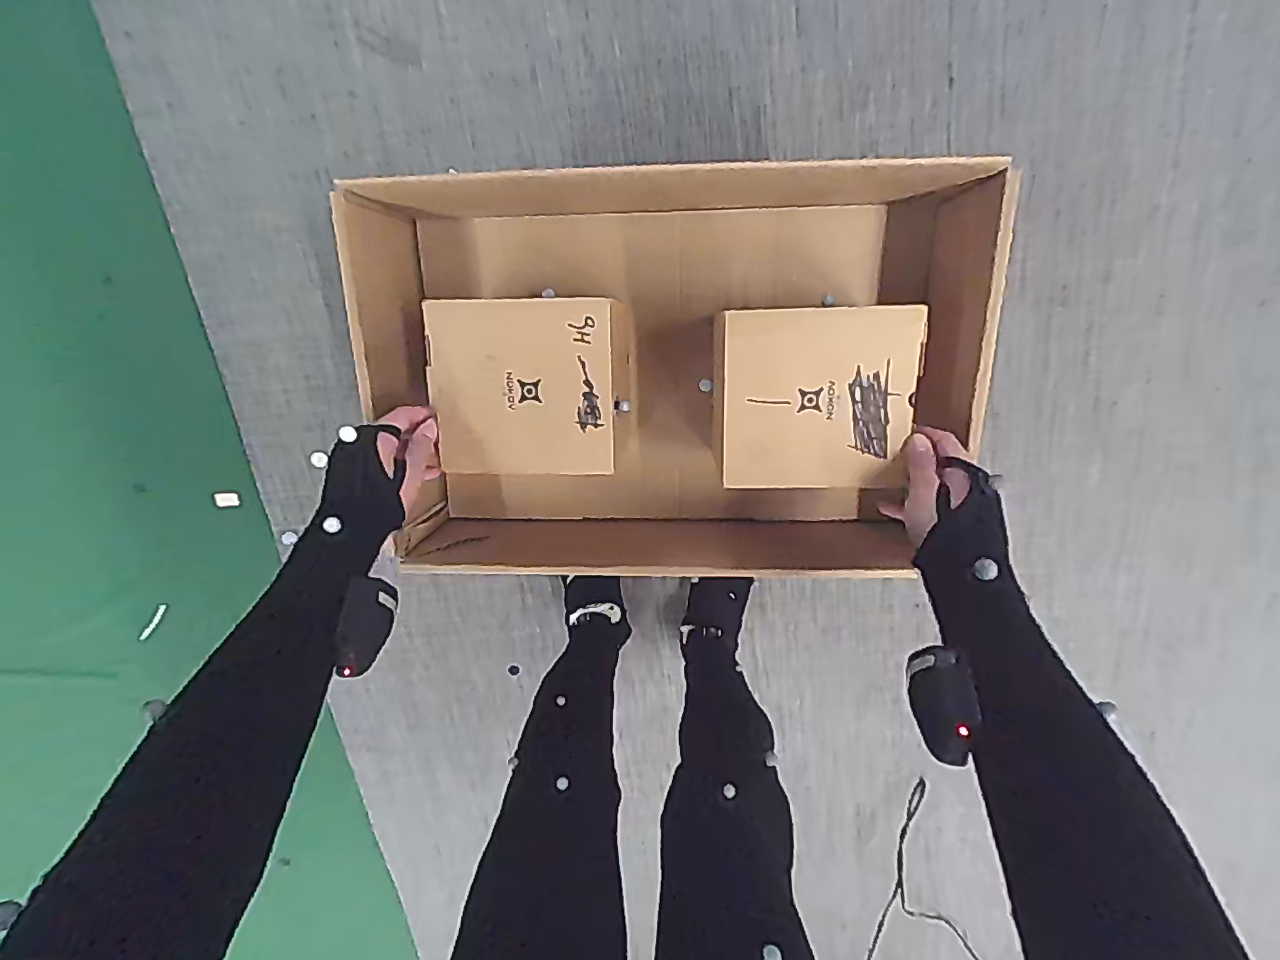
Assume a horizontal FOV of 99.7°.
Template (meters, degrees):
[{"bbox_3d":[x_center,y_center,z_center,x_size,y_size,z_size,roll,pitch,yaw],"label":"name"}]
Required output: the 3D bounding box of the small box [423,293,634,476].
[{"bbox_3d":[-0.103,-0.106,0.576,0.179,0.176,0.168,2,105,5],"label":"small box"}]
